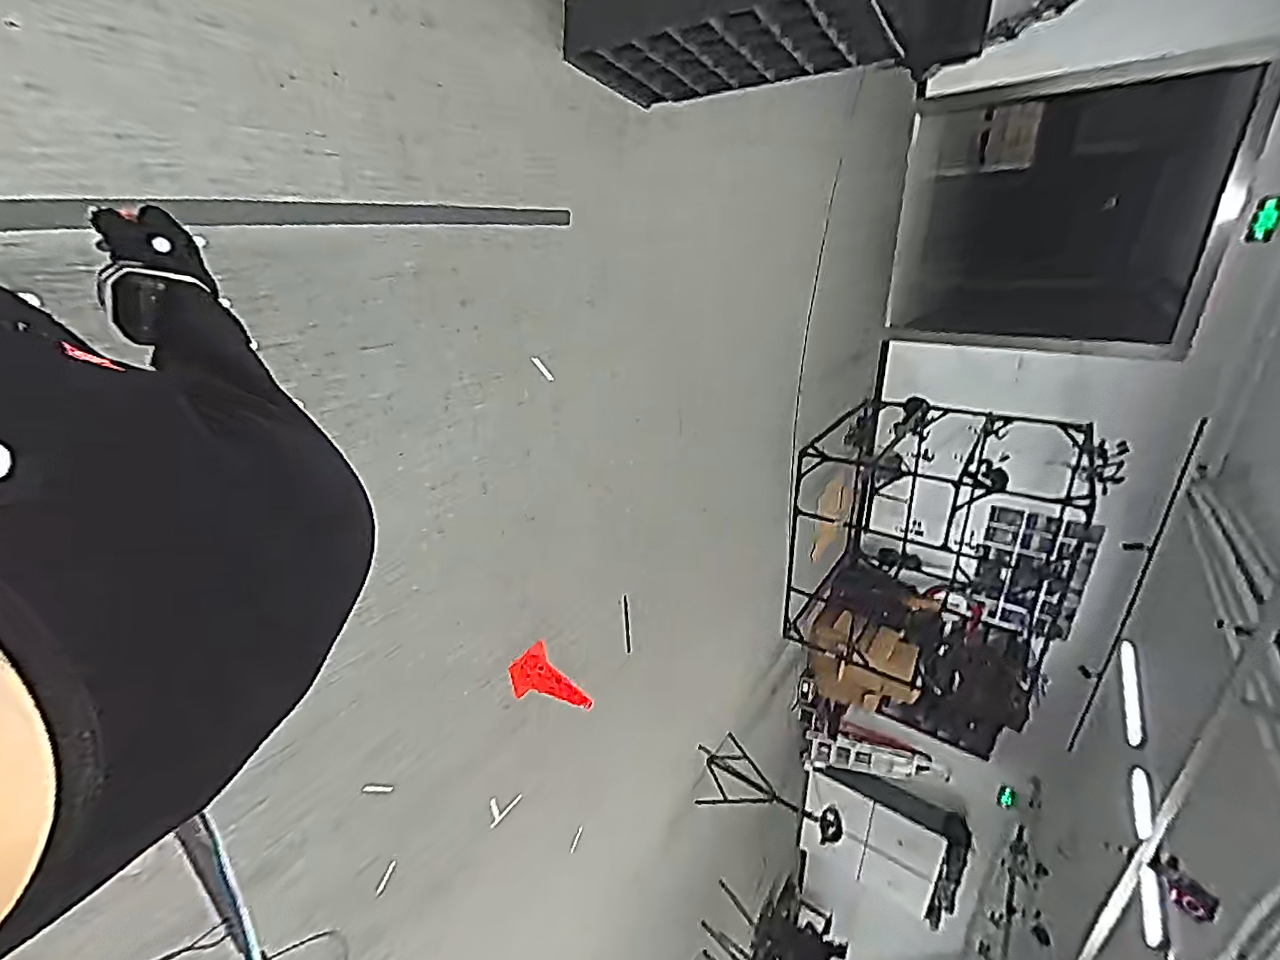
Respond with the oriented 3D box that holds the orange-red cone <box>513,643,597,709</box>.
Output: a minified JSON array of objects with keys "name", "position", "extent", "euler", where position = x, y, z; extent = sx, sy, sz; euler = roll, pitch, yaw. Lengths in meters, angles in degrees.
[{"name":"orange-red cone","position":[-0.328,0.863,2.250],"extent":[0.198,0.360,0.199],"euler":[-35,128,-45]}]
